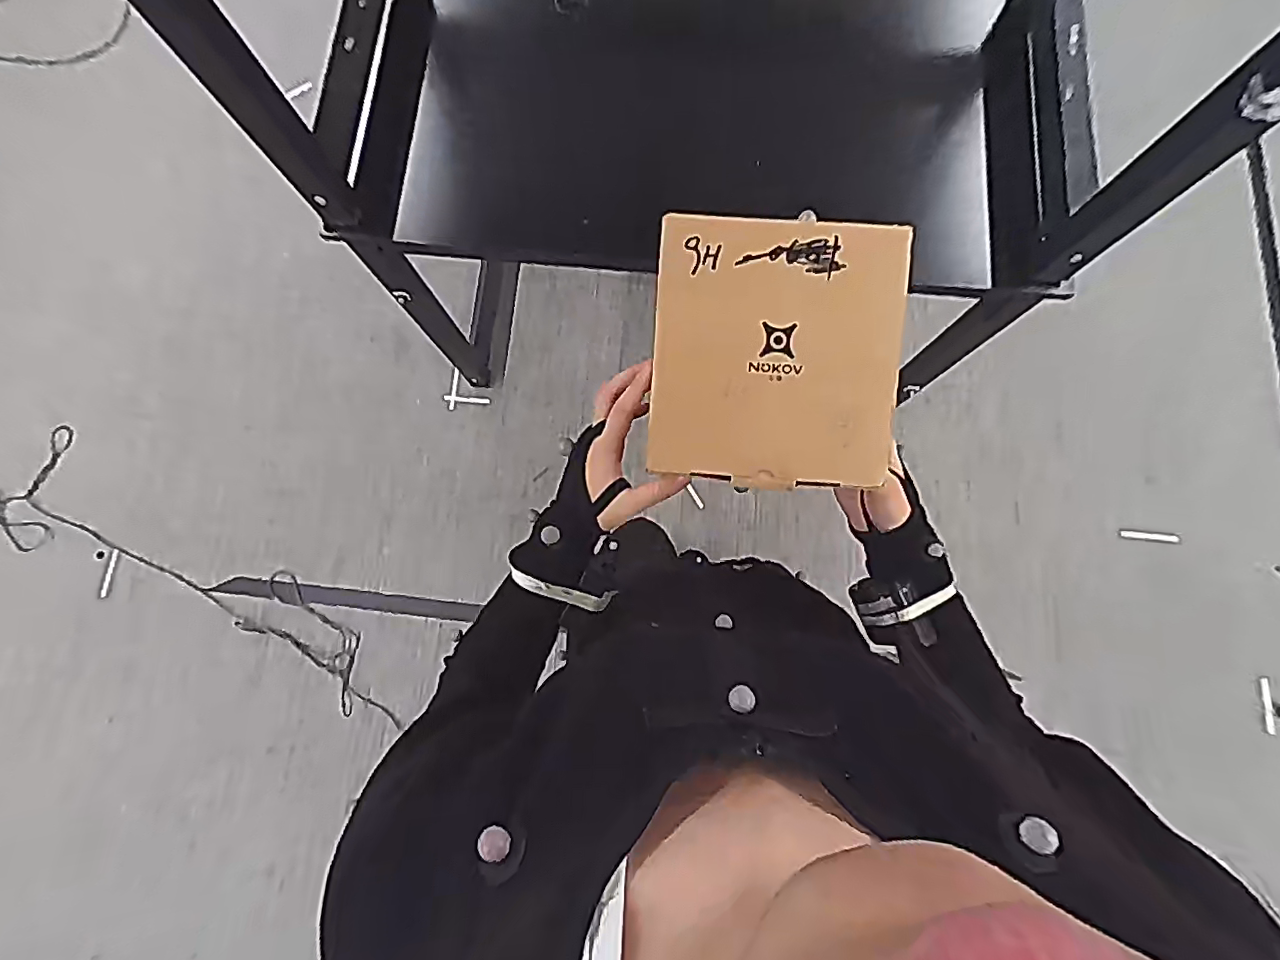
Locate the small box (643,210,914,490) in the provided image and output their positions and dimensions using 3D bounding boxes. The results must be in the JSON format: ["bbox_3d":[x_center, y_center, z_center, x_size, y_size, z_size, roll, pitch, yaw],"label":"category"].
[{"bbox_3d":[0.092,-0.094,0.440,0.168,0.176,0.179,4,96,1],"label":"small box"}]
